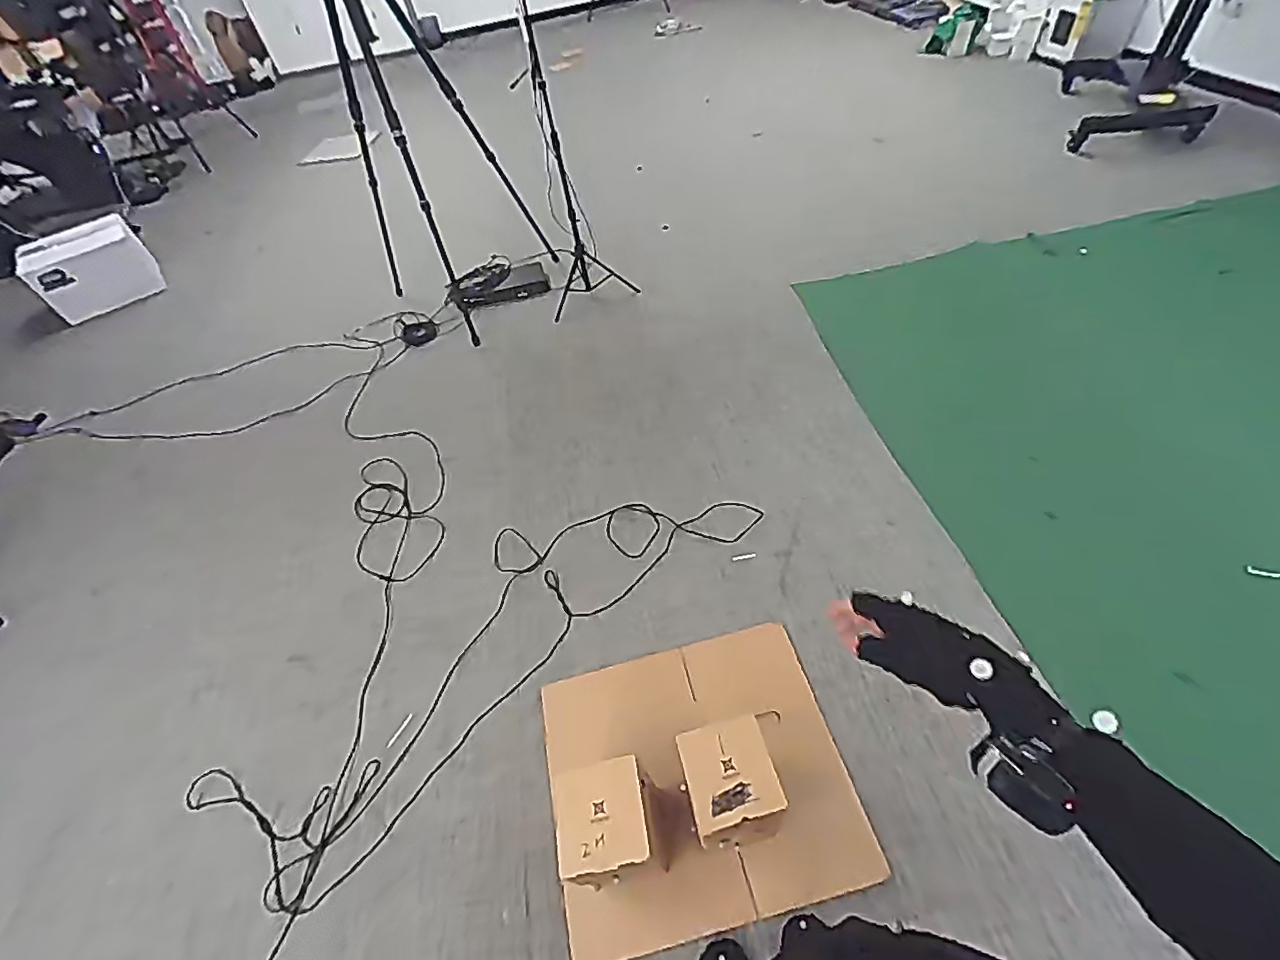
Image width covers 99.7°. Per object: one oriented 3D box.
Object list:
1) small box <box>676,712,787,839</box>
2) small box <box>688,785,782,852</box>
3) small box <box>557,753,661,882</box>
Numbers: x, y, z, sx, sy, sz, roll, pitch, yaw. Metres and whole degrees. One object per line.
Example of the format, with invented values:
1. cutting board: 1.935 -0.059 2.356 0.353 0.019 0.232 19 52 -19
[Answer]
1. small box: 0.179 0.593 1.076 0.168 0.176 0.179 -15 50 -4
2. small box: 0.198 0.699 1.201 0.168 0.176 0.179 -15 51 -3
3. small box: -0.059 0.662 1.057 0.168 0.176 0.179 -13 50 0
